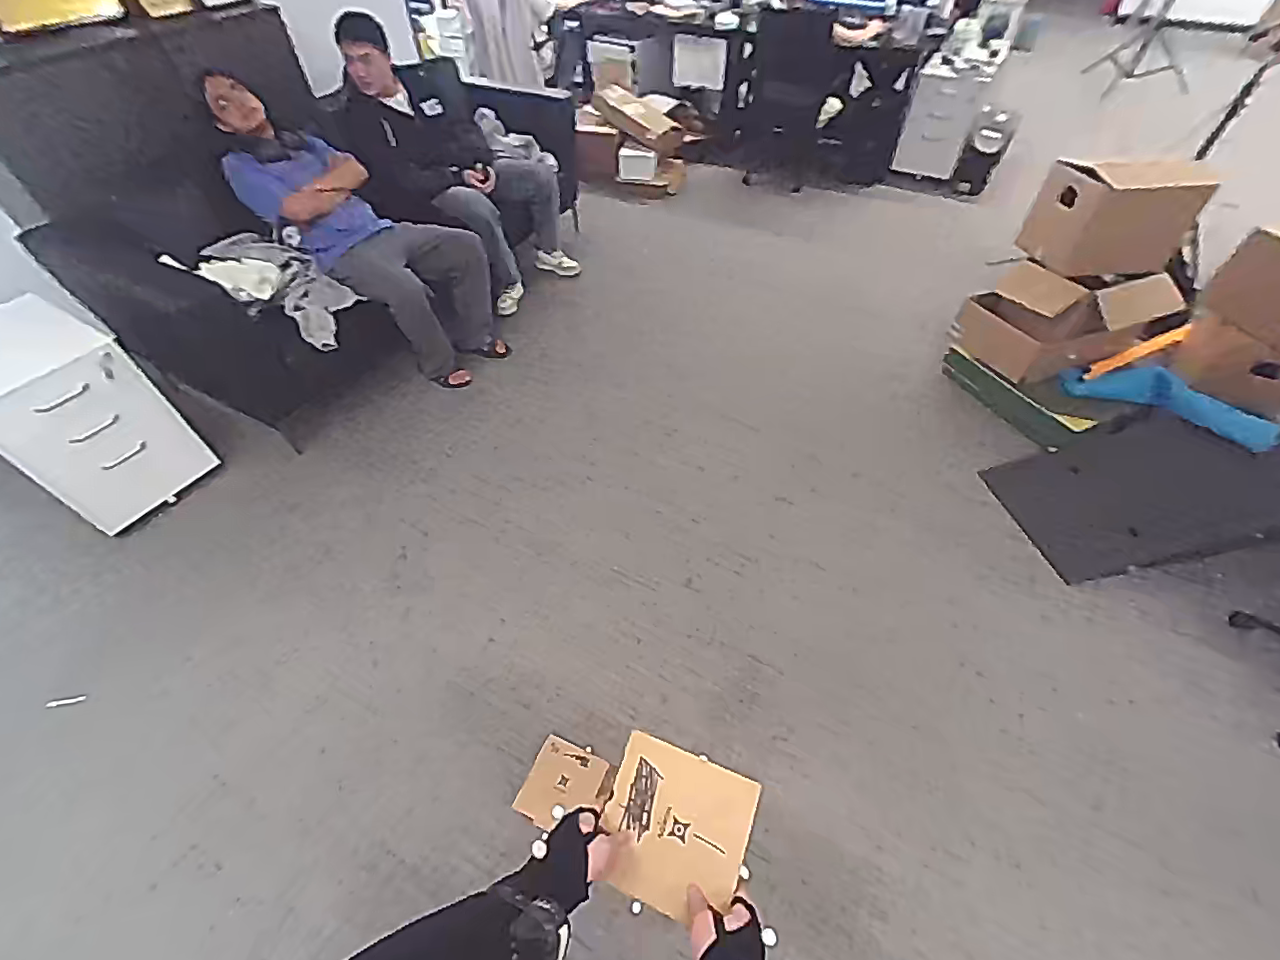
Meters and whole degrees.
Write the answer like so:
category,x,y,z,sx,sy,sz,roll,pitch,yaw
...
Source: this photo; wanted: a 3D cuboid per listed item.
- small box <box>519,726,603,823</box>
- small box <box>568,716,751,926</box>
category,x,y,z,sx,sy,sz,roll,pitch,yaw
small box,-0.185,0.718,1.314,0.179,0.176,0.168,-5,48,-2
small box,0.032,0.450,0.720,0.179,0.176,0.168,20,59,20
